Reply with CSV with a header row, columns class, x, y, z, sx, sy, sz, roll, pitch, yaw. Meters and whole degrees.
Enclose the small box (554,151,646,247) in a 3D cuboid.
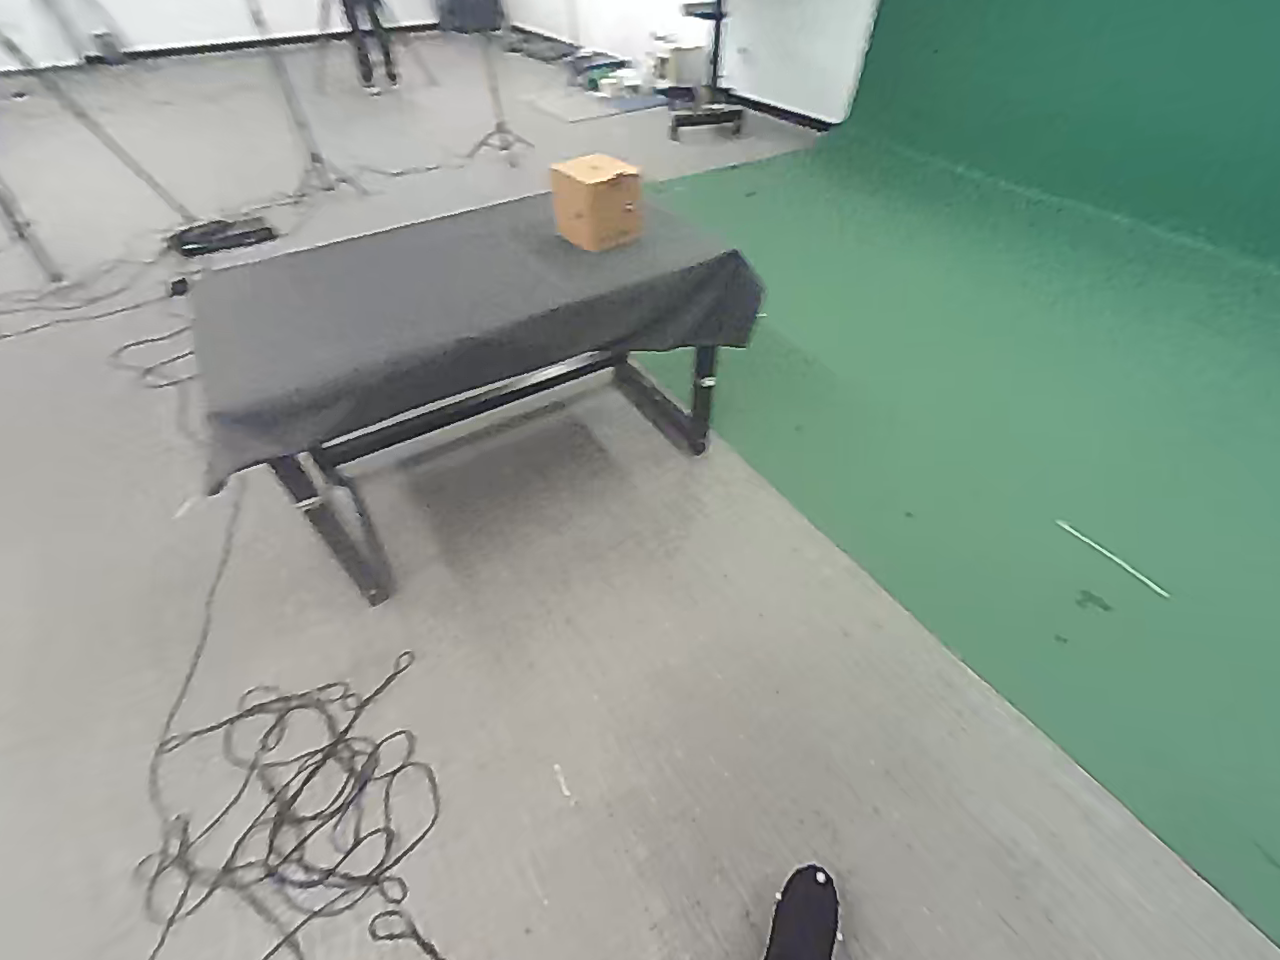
class,x,y,z,sx,sy,sz,roll,pitch,yaw
small box,-0.099,-0.721,1.393,0.168,0.176,0.179,-30,53,-26
